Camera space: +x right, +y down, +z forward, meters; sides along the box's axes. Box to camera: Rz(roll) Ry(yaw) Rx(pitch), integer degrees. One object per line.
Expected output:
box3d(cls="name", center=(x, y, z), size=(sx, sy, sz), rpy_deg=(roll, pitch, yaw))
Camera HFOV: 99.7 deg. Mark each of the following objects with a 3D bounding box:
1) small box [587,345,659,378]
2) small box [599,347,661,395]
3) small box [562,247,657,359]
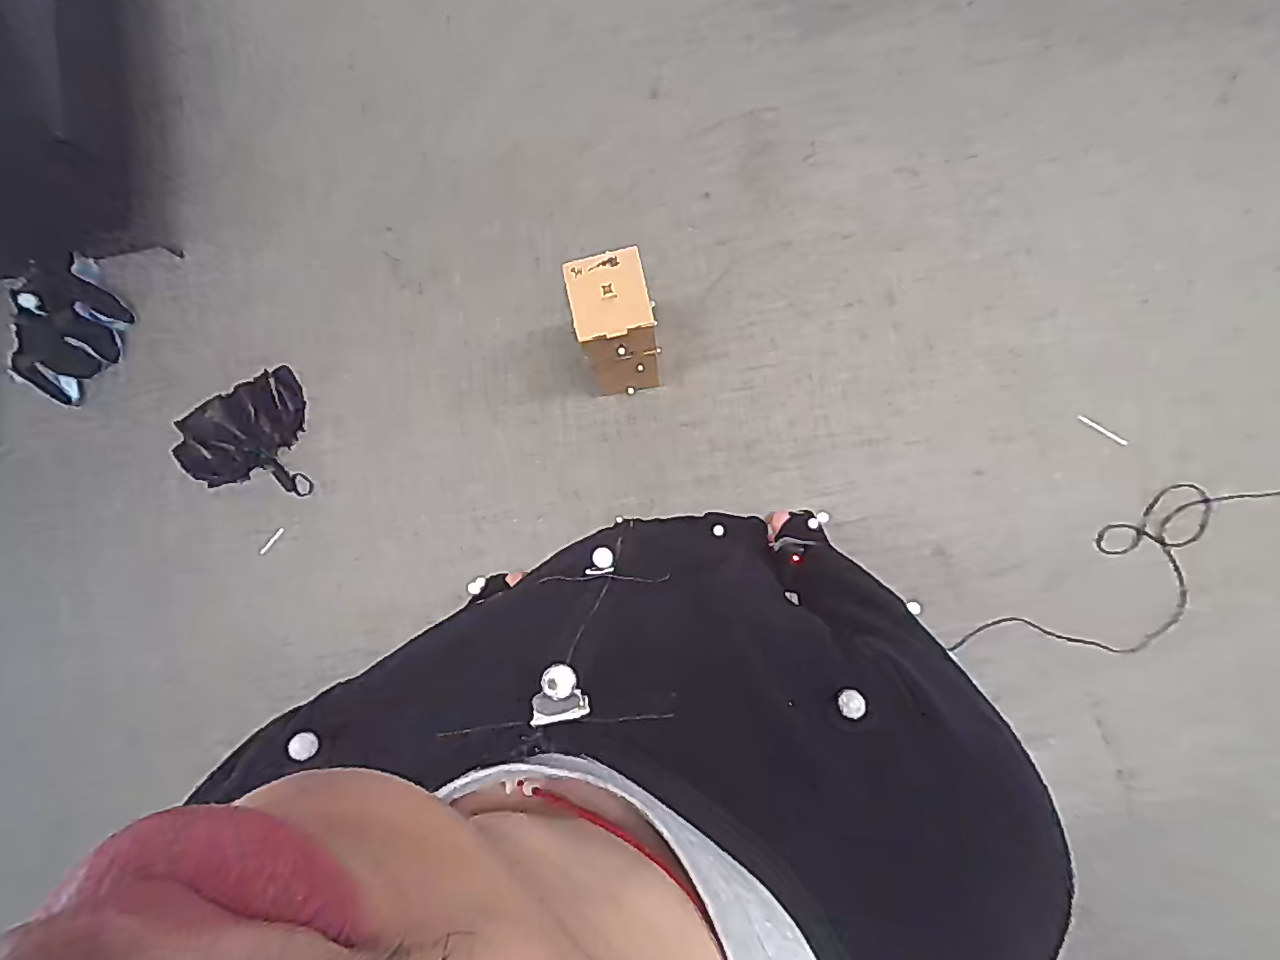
box3d(cls="small box", center=(-0.049, -0.367, 1.361), size=(0.168, 0.176, 0.179), rpy_deg=(-11, 83, 3))
box3d(cls="small box", center=(-0.035, -0.355, 1.521), size=(0.168, 0.176, 0.179), rpy_deg=(-10, 85, 5))
box3d(cls="small box", center=(-0.061, -0.379, 1.198), size=(0.168, 0.176, 0.179), rpy_deg=(-13, 86, 3))
